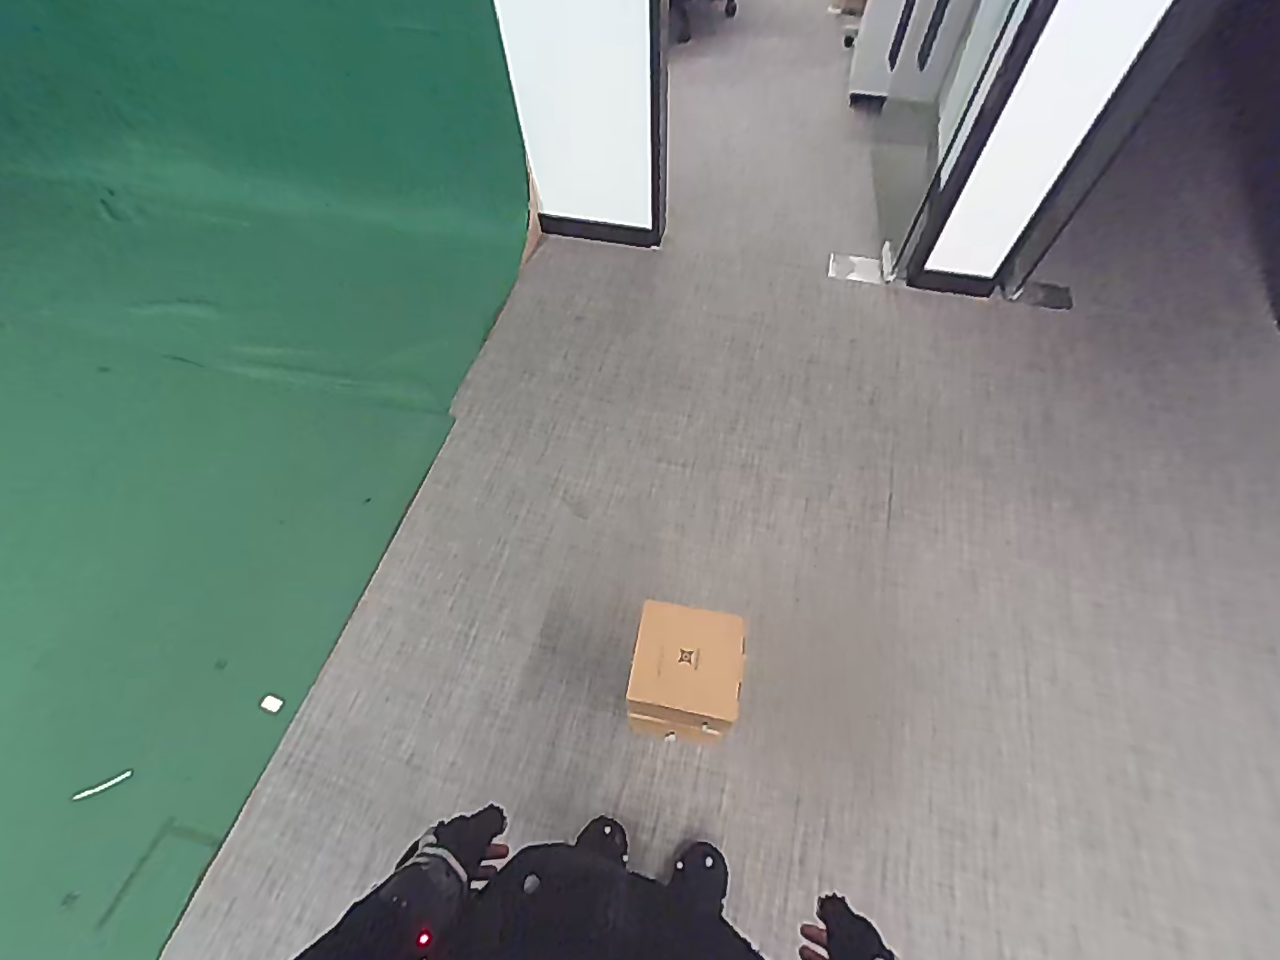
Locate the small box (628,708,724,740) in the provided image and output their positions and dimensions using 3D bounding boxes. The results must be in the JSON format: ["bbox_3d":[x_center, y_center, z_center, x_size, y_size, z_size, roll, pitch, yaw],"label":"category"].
[{"bbox_3d":[0.080,0.415,1.084,0.179,0.176,0.168,9,61,6],"label":"small box"}]

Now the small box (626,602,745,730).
[{"bbox_3d":[0.080,0.330,0.945,0.179,0.176,0.168,7,60,7],"label":"small box"}]
